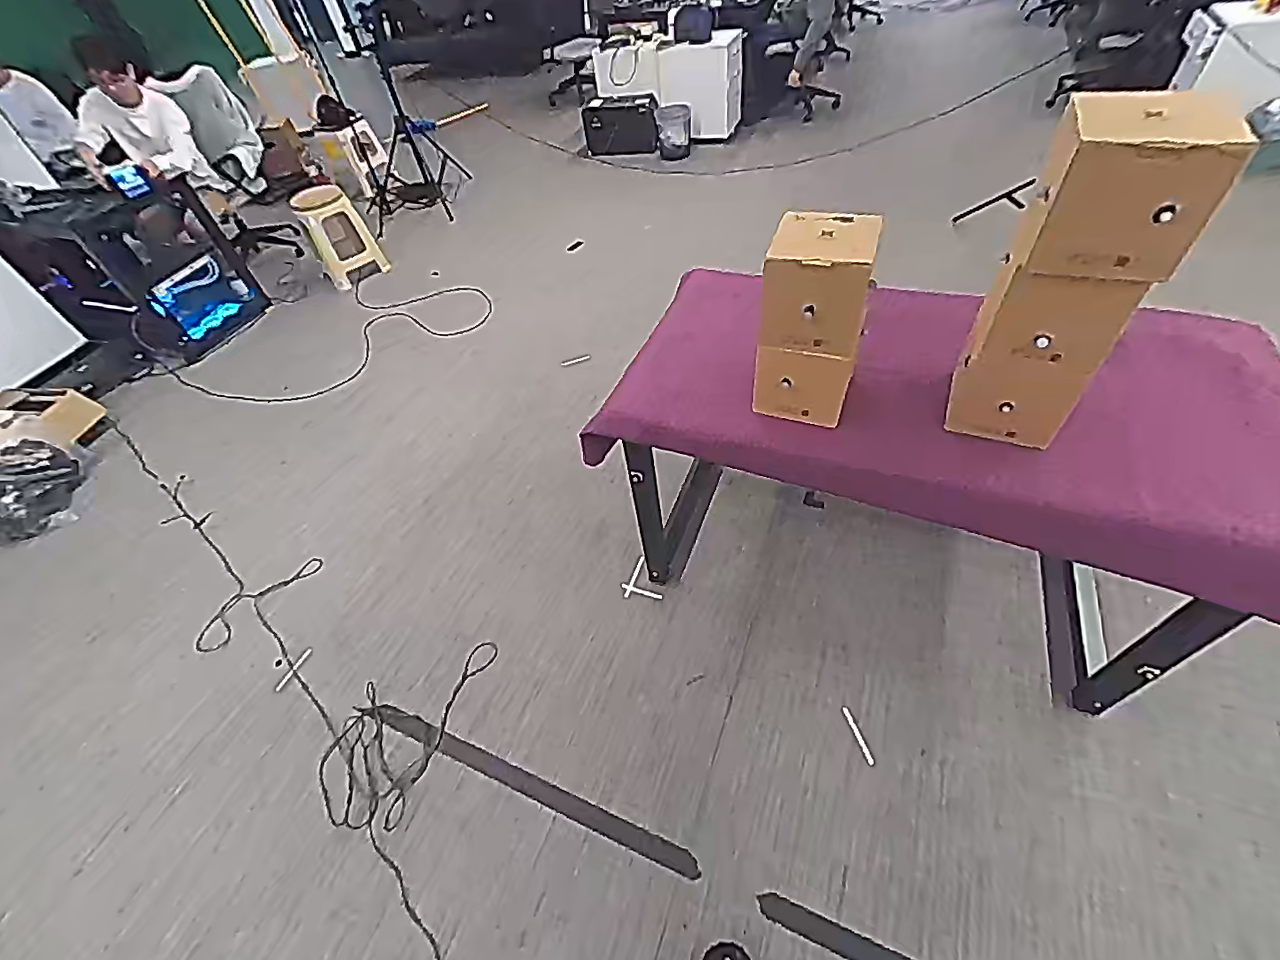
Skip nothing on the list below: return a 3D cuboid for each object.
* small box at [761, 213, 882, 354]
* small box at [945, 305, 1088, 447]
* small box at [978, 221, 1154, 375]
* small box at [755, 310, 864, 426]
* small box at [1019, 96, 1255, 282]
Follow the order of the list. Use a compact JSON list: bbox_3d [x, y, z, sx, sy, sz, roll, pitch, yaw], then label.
[{"bbox_3d":[0.312,-0.342,0.946,0.168,0.176,0.179,13,52,18],"label":"small box"},{"bbox_3d":[0.670,-0.186,0.974,0.168,0.176,0.179,17,53,21],"label":"small box"},{"bbox_3d":[0.656,-0.295,0.852,0.168,0.176,0.179,16,54,21],"label":"small box"},{"bbox_3d":[0.328,-0.229,1.064,0.168,0.176,0.179,15,52,20],"label":"small box"},{"bbox_3d":[0.631,-0.384,0.717,0.168,0.176,0.179,14,52,18],"label":"small box"}]
